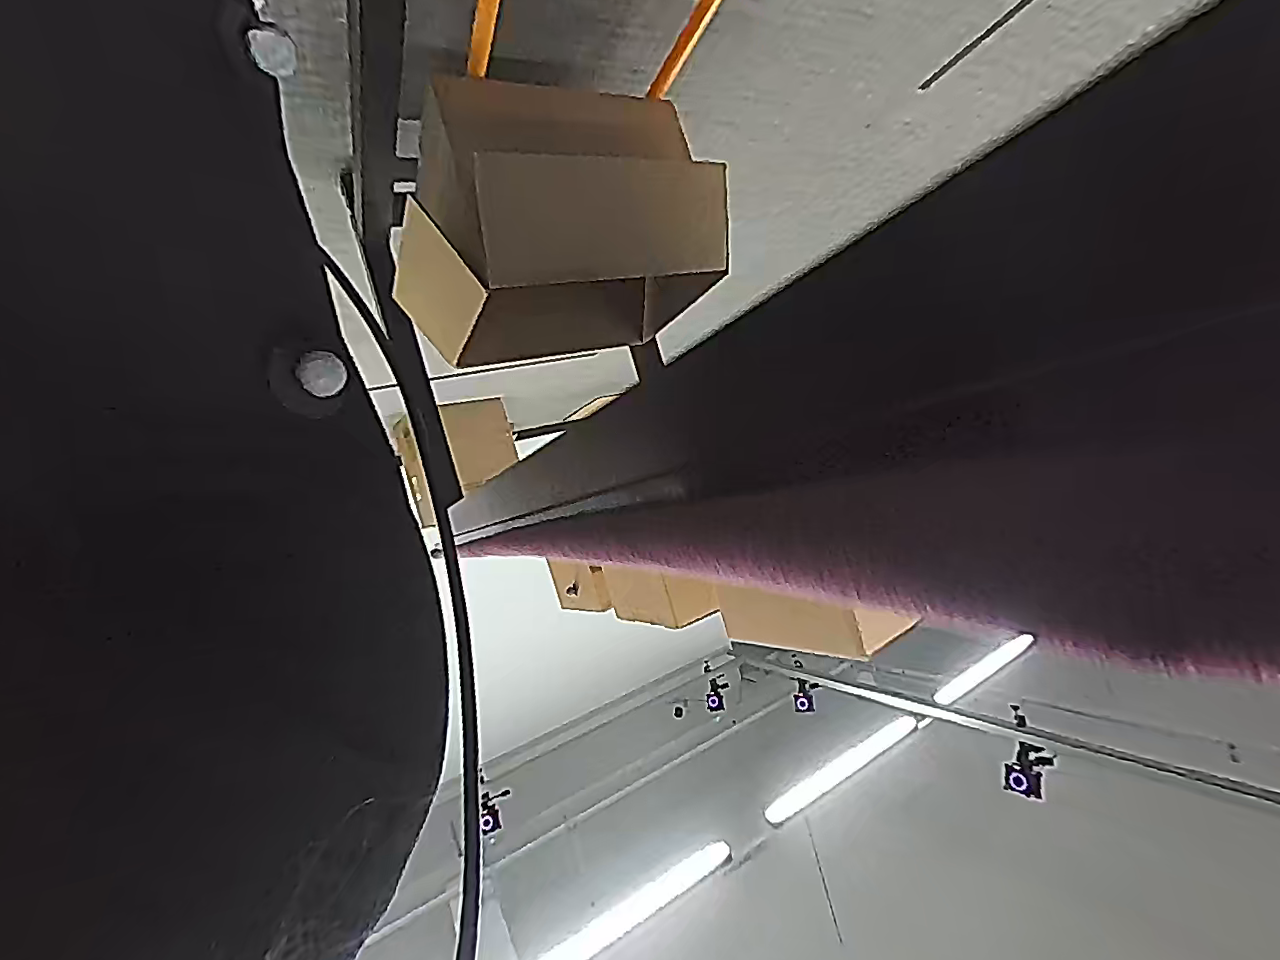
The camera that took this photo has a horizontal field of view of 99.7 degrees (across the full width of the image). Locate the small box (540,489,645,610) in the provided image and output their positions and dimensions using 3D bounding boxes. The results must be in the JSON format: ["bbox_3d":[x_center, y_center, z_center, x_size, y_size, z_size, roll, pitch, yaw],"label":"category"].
[{"bbox_3d":[-0.064,0.121,0.969,0.168,0.176,0.179,-17,180,-33],"label":"small box"}]

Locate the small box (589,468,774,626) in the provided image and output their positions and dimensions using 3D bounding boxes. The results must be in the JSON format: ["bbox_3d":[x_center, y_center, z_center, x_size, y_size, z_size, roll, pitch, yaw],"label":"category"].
[{"bbox_3d":[0.053,0.088,0.762,0.179,0.176,0.168,-16,179,-31],"label":"small box"}]
